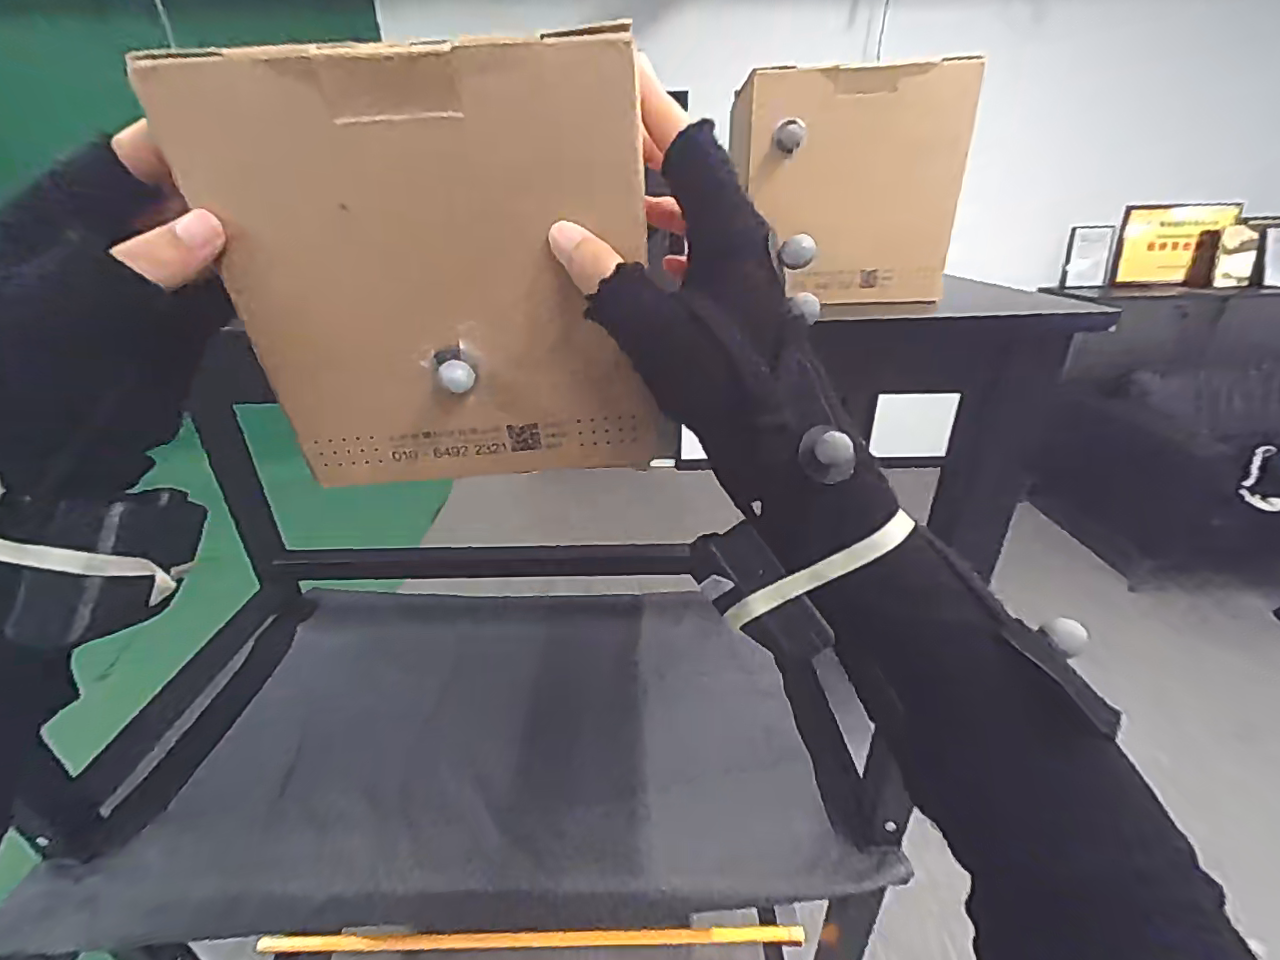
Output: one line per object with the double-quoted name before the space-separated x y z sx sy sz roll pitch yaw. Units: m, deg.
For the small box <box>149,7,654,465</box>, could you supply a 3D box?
"small box" -0.082 -0.124 0.290 0.168 0.176 0.179 -5 33 -1
